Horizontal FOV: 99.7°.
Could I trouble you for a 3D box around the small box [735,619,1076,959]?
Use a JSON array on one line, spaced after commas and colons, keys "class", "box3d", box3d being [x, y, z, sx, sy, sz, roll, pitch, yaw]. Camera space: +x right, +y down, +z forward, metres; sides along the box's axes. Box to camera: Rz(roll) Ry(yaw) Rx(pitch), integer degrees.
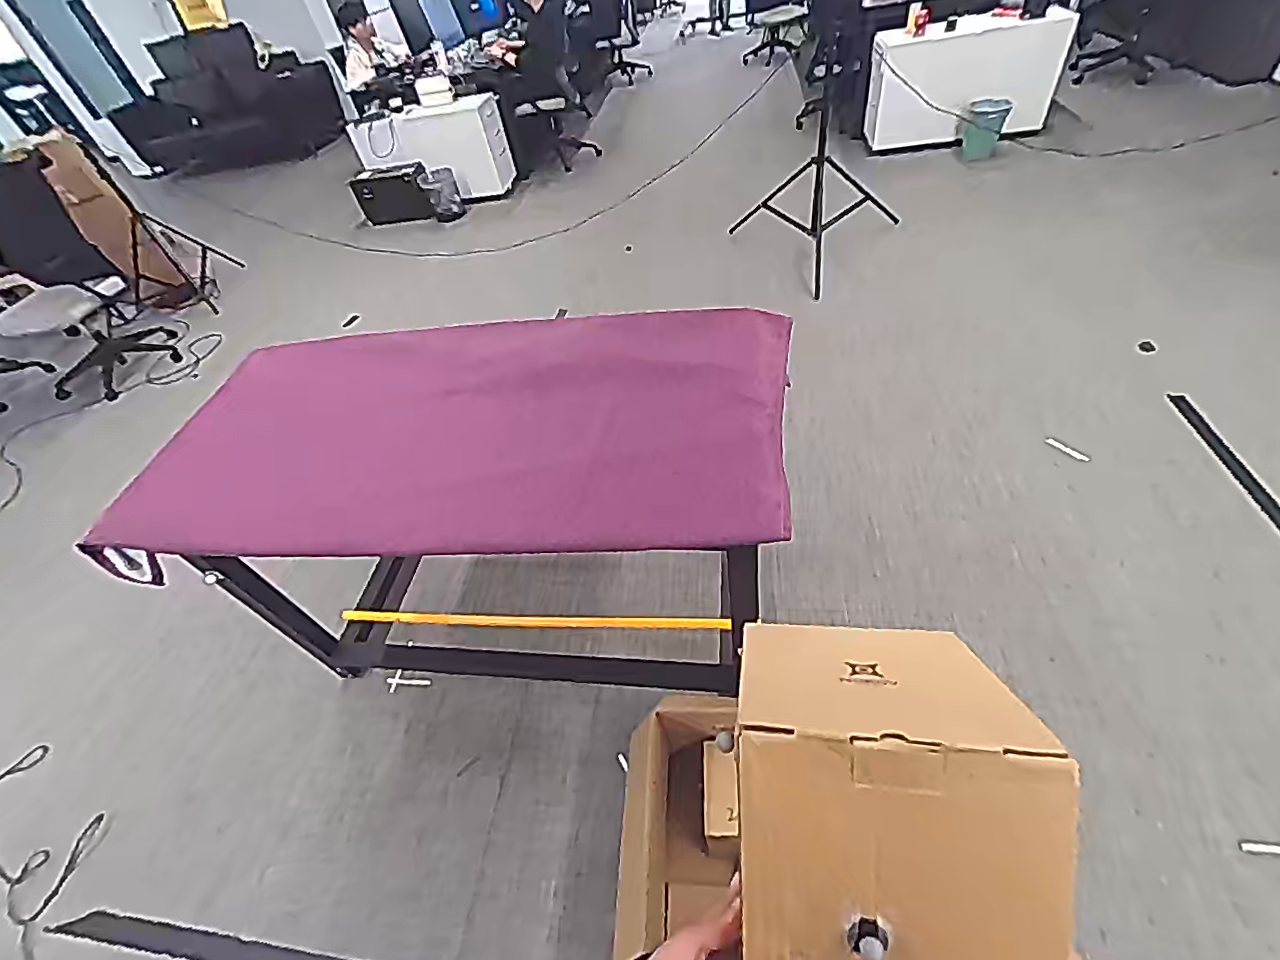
[{"class": "small box", "box3d": [0.152, 0.208, 0.367, 0.168, 0.176, 0.179, -1, 5, 12]}]
